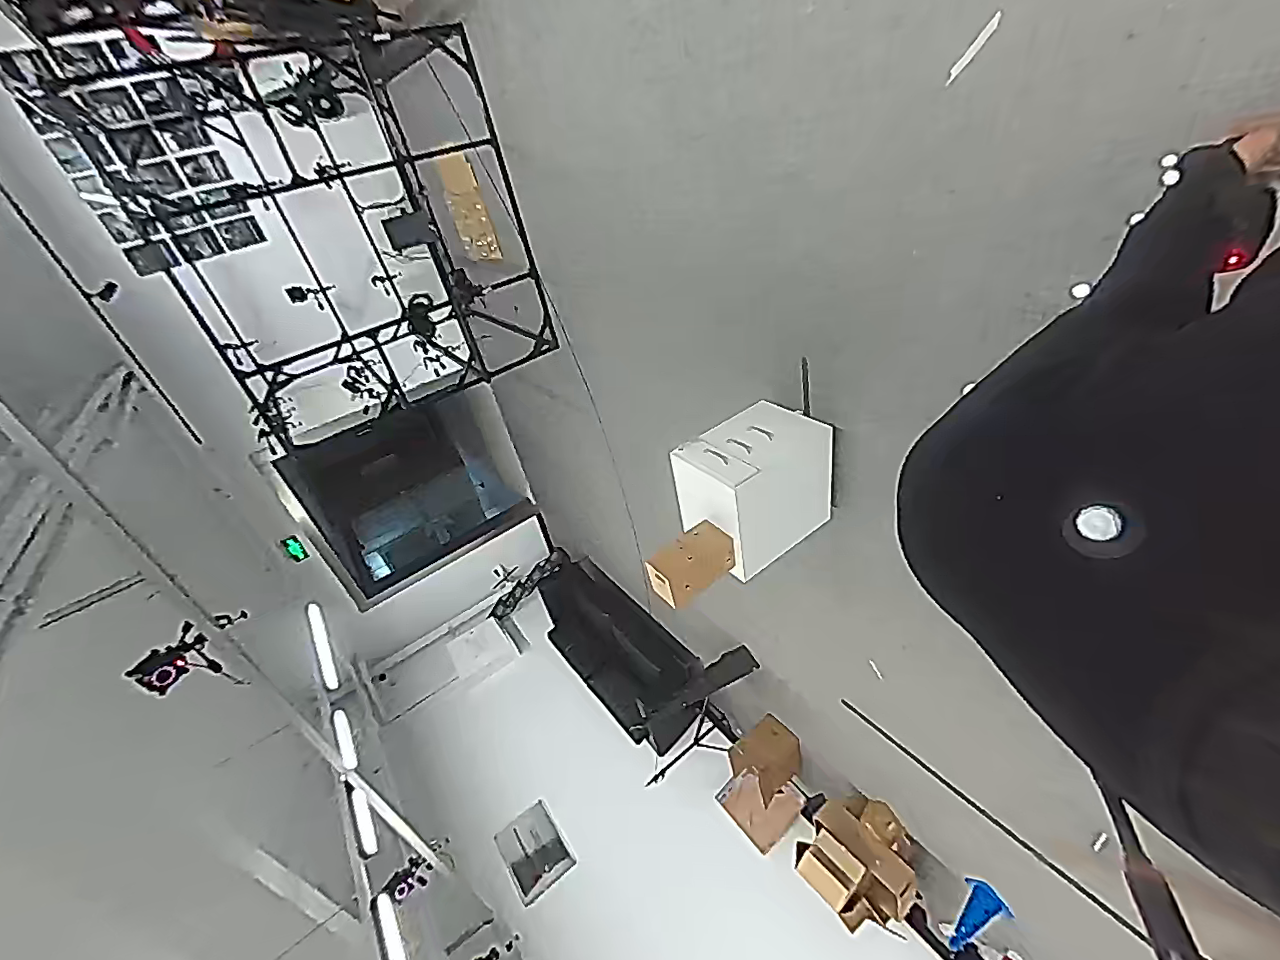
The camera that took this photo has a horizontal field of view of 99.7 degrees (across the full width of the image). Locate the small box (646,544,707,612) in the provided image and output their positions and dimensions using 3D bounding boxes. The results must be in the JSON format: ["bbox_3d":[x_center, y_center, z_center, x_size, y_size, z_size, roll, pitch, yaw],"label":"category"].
[{"bbox_3d":[0.152,0.392,2.199,0.168,0.176,0.179,33,148,49],"label":"small box"}]

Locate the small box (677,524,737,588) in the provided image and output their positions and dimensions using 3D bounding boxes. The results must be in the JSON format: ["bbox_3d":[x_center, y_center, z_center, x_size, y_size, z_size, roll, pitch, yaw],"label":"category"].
[{"bbox_3d":[0.282,0.310,2.258,0.179,0.176,0.168,36,148,45],"label":"small box"}]
